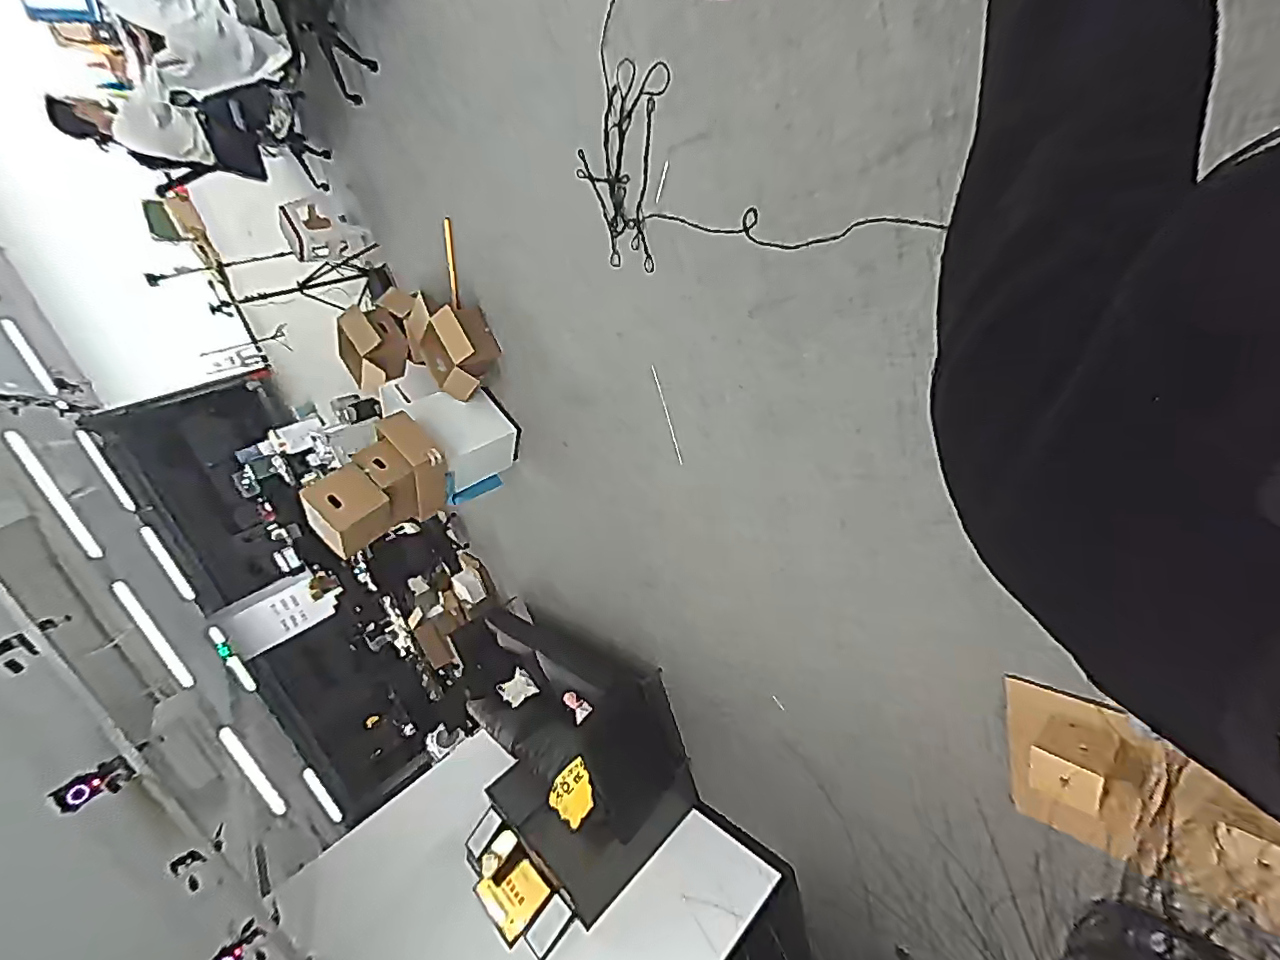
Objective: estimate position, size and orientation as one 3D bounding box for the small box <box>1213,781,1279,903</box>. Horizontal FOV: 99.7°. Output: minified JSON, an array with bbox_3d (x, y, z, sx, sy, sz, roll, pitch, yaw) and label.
[{"bbox_3d":[1.505,0.864,1.282,0.168,0.176,0.179,15,126,48],"label":"small box"}]

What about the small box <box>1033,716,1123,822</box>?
[{"bbox_3d":[1.267,0.826,1.565,0.168,0.176,0.179,14,126,49],"label":"small box"}]
